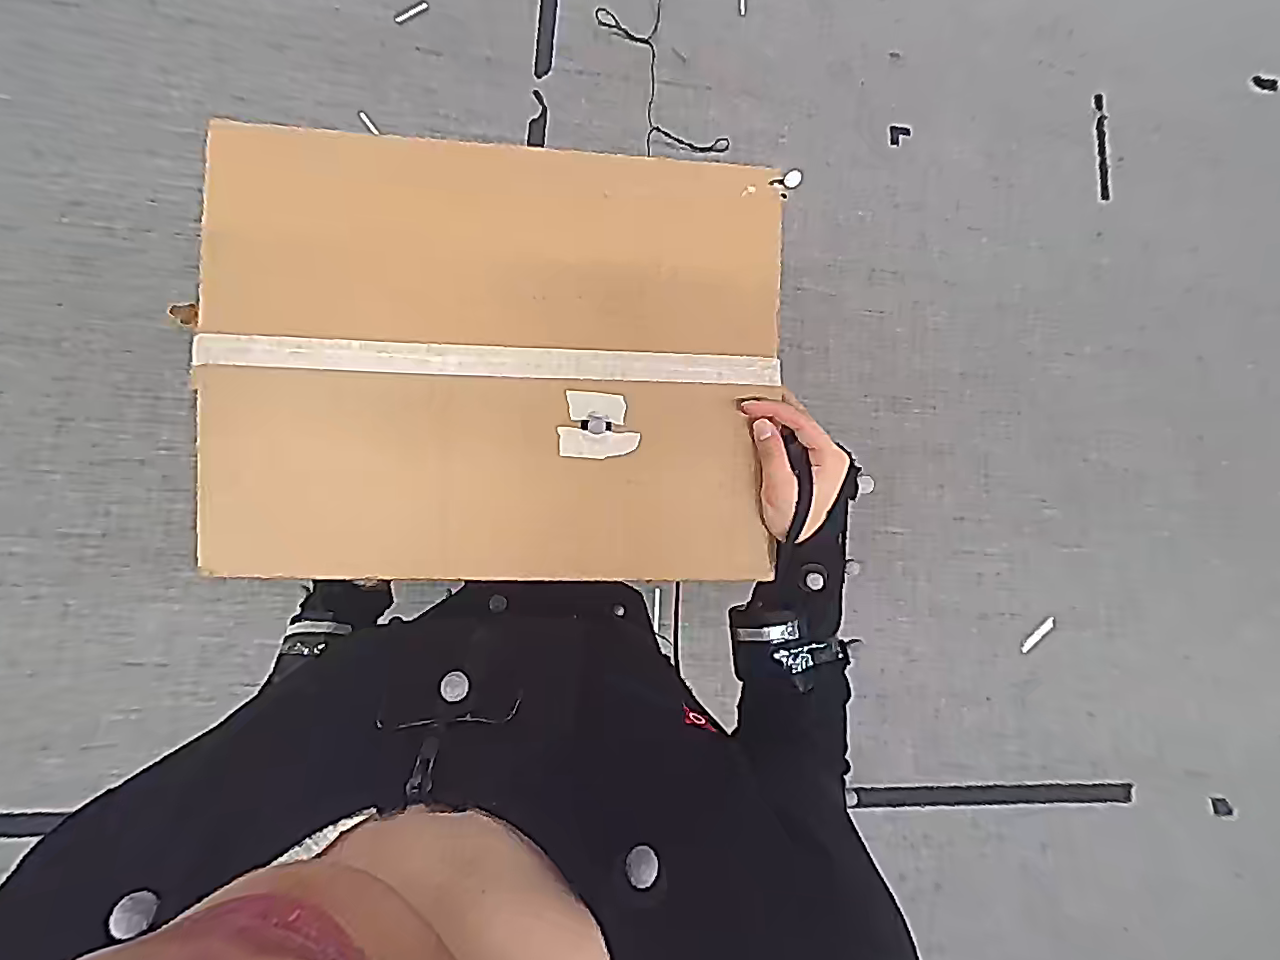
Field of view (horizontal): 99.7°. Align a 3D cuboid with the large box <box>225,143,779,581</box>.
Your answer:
[{"bbox_3d":[-0.108,-0.082,0.546,0.408,0.320,0.320,1,90,-7],"label":"large box"}]
